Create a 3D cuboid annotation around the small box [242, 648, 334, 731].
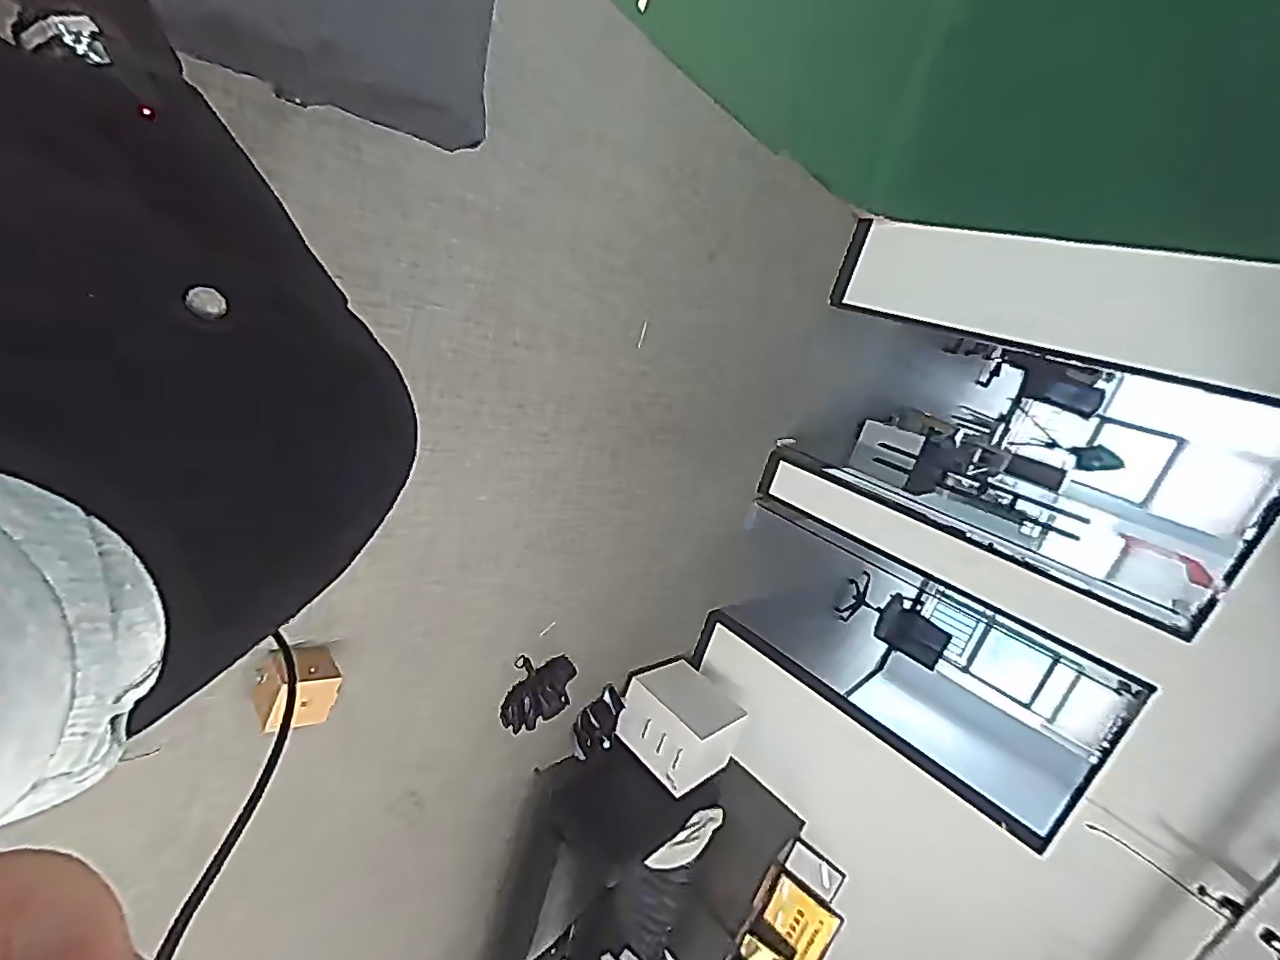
[{"bbox_3d":[-1.097,0.641,1.682,0.179,0.176,0.168,15,100,-52],"label":"small box"}]
